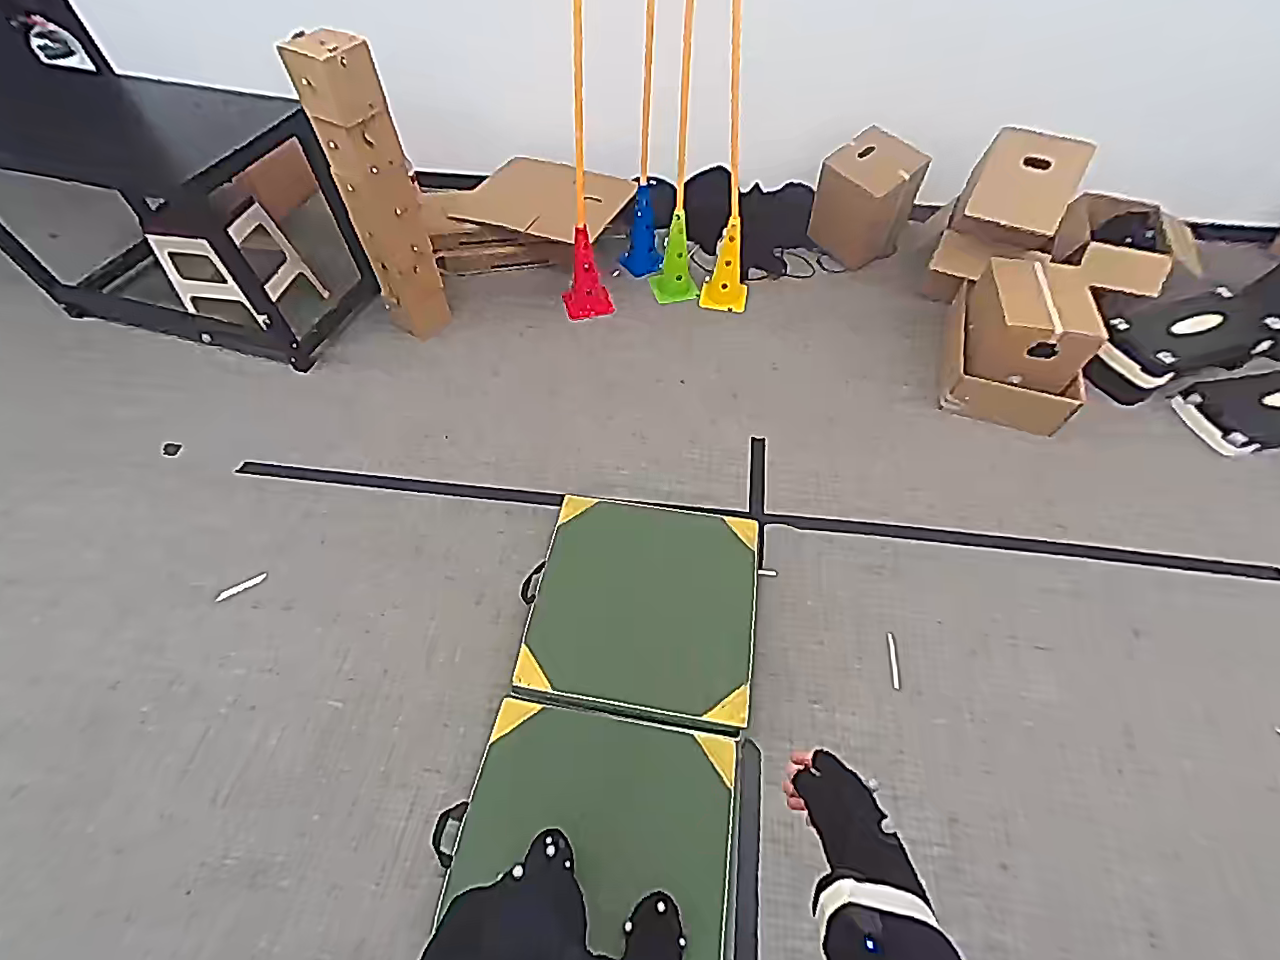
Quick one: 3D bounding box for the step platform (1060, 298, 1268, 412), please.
[{"bbox_3d":[2.051,-0.500,2.121,0.684,0.204,0.286,-17,56,-12],"label":"step platform"}]
